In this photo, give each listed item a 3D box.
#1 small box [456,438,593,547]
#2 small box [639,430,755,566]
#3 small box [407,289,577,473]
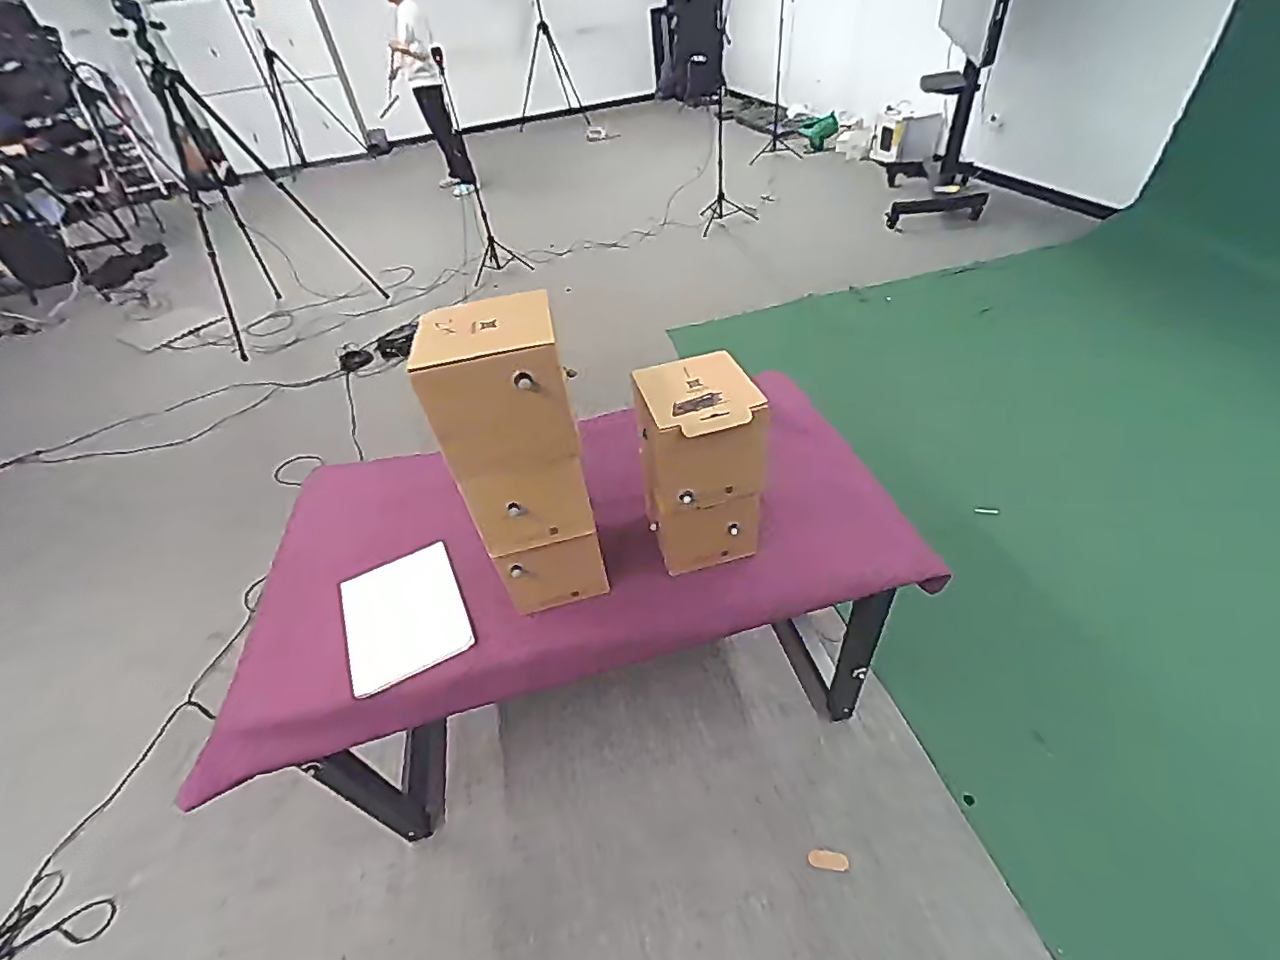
[{"bbox_3d":[-0.176,-0.014,0.844,0.168,0.176,0.179,-13,42,-5],"label":"small box"},{"bbox_3d":[0.103,0.038,0.986,0.168,0.176,0.179,-13,42,-6],"label":"small box"},{"bbox_3d":[-0.185,-0.133,0.730,0.179,0.176,0.168,-12,41,-3],"label":"small box"}]
